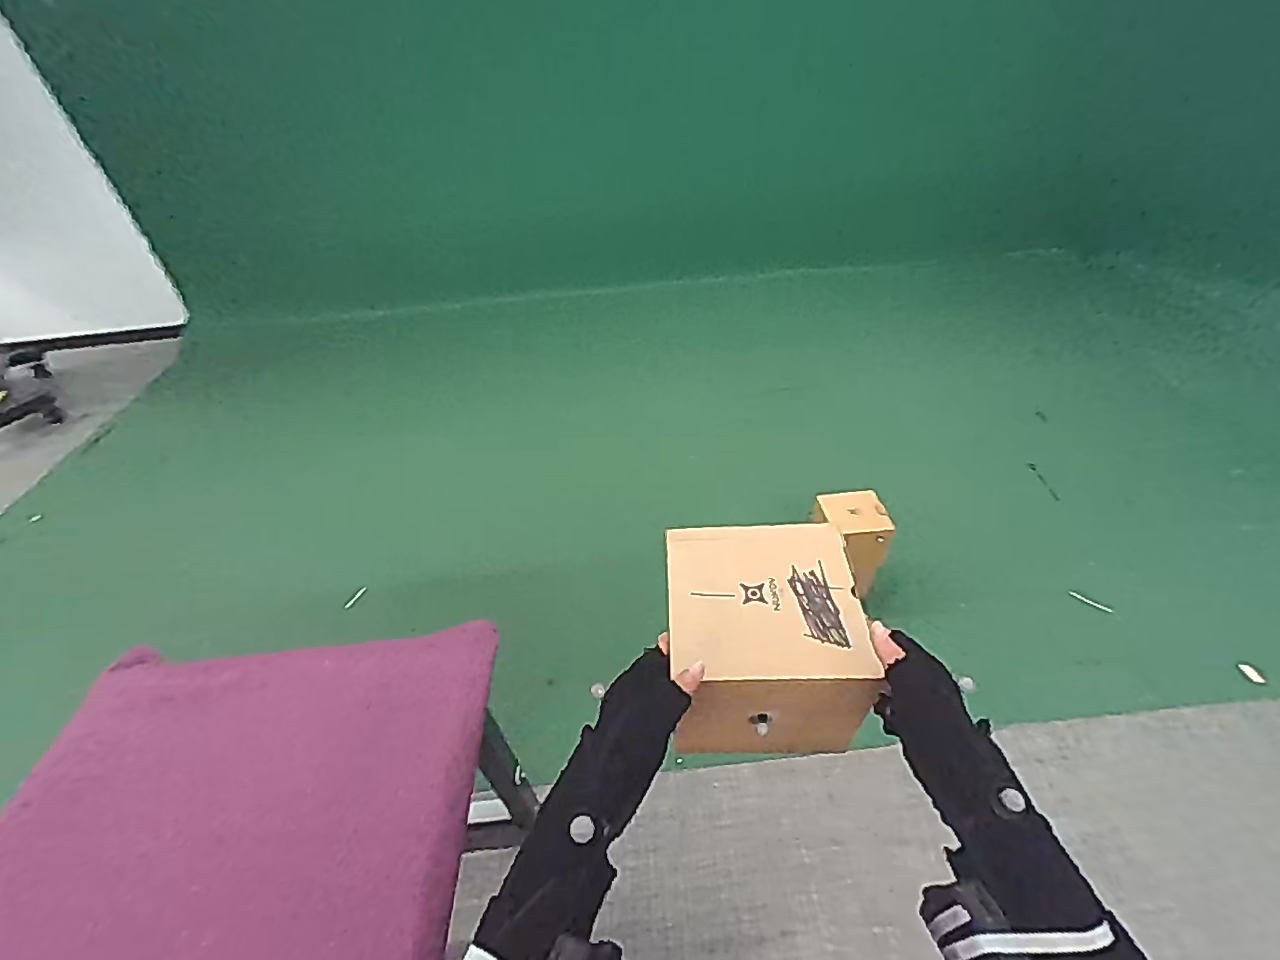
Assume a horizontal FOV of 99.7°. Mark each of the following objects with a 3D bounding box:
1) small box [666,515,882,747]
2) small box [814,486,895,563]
[{"bbox_3d":[0.118,0.154,0.549,0.179,0.176,0.168,1,43,6],"label":"small box"},{"bbox_3d":[0.636,0.141,1.635,0.179,0.176,0.168,-6,42,-1],"label":"small box"}]
